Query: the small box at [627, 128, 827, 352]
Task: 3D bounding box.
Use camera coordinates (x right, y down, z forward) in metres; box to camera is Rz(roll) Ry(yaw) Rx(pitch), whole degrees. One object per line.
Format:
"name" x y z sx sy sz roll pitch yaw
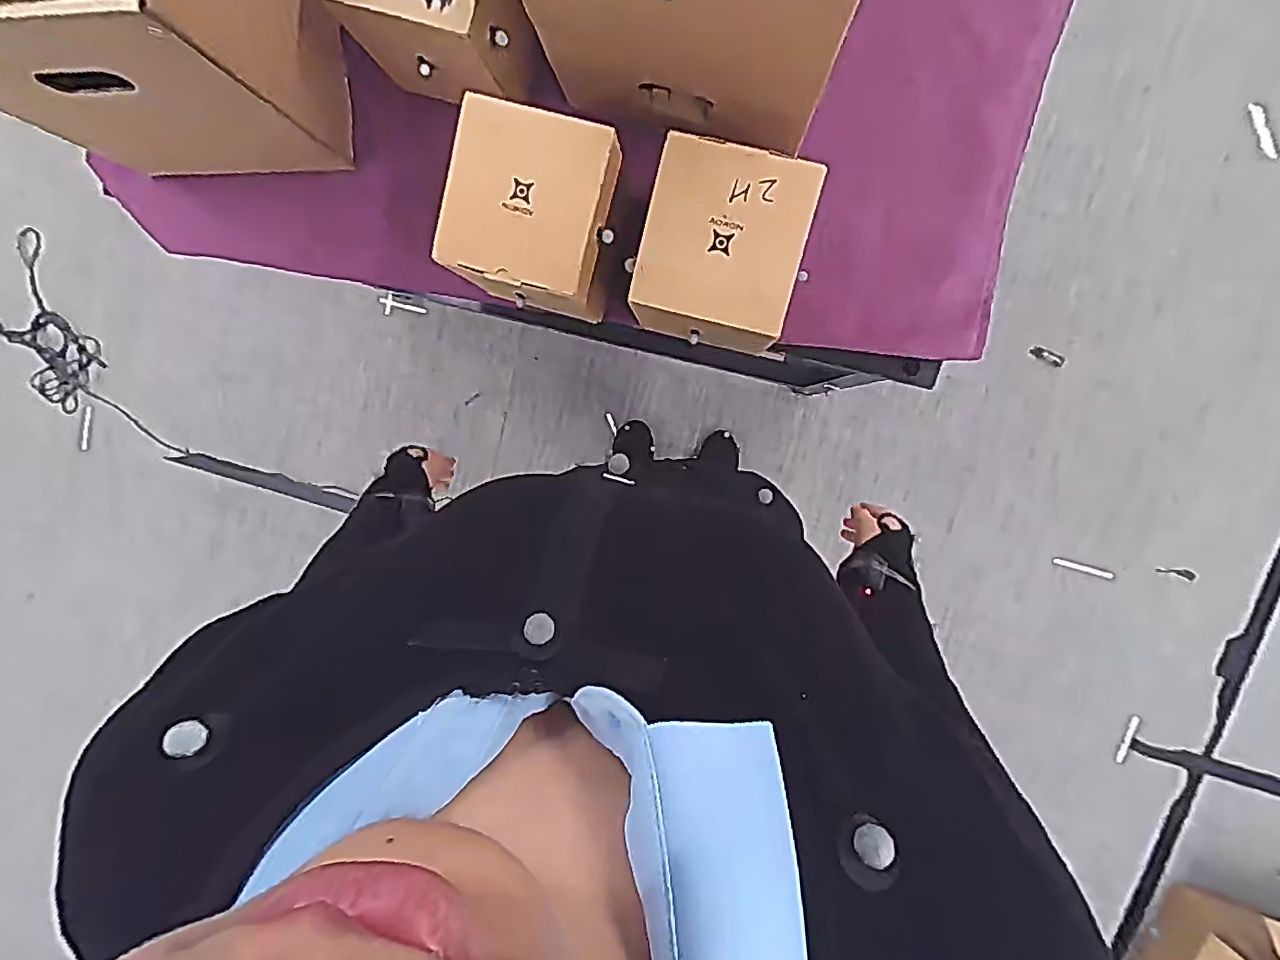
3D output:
"small box" 0.093 -0.258 0.627 0.168 0.176 0.179 16 97 3
